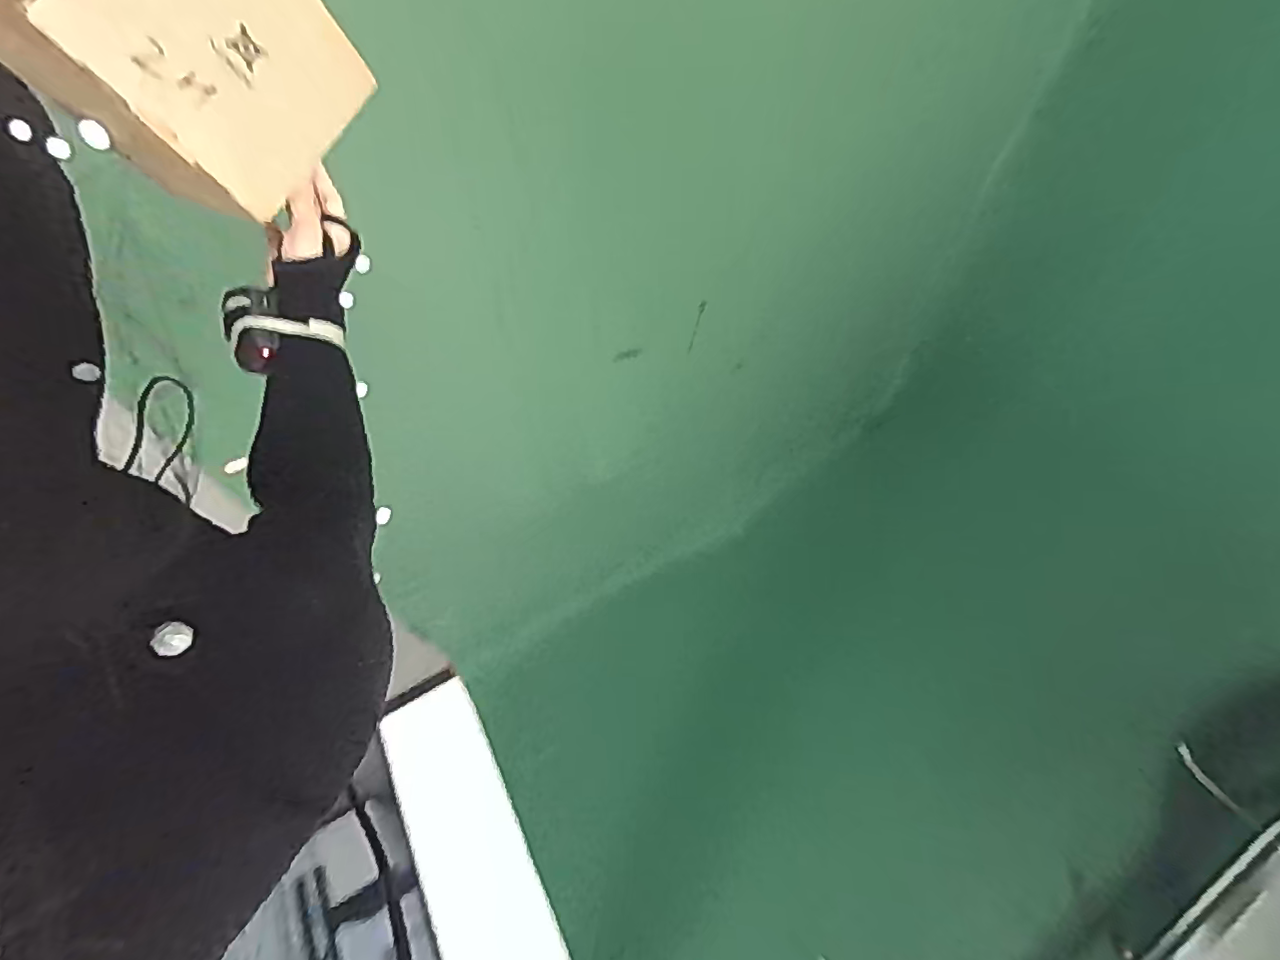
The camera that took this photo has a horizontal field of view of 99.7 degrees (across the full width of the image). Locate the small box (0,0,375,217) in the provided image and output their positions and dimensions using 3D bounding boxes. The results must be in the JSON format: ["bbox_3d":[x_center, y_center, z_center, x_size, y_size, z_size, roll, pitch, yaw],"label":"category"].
[{"bbox_3d":[-0.372,-0.357,0.442,0.179,0.176,0.168,-59,153,-11],"label":"small box"}]
